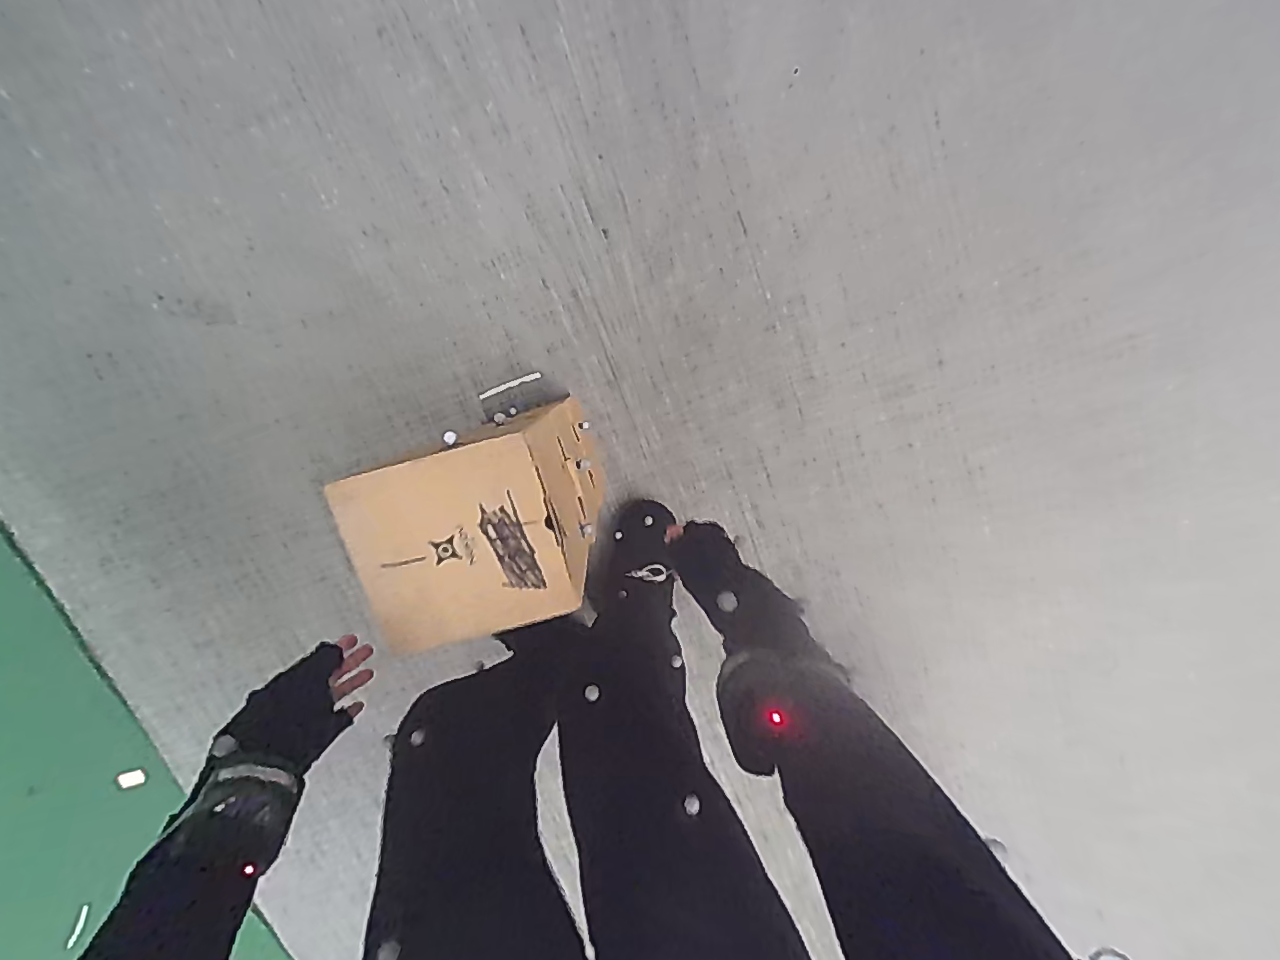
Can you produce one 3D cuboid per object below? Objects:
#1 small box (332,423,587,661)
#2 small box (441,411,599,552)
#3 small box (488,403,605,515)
[{"bbox_3d":[-0.155,0.046,0.538,0.179,0.176,0.168,-15,101,1],"label":"small box"},{"bbox_3d":[-0.159,0.013,0.699,0.179,0.176,0.168,-16,101,0],"label":"small box"},{"bbox_3d":[-0.161,-0.018,0.861,0.179,0.176,0.168,-18,101,2],"label":"small box"}]
